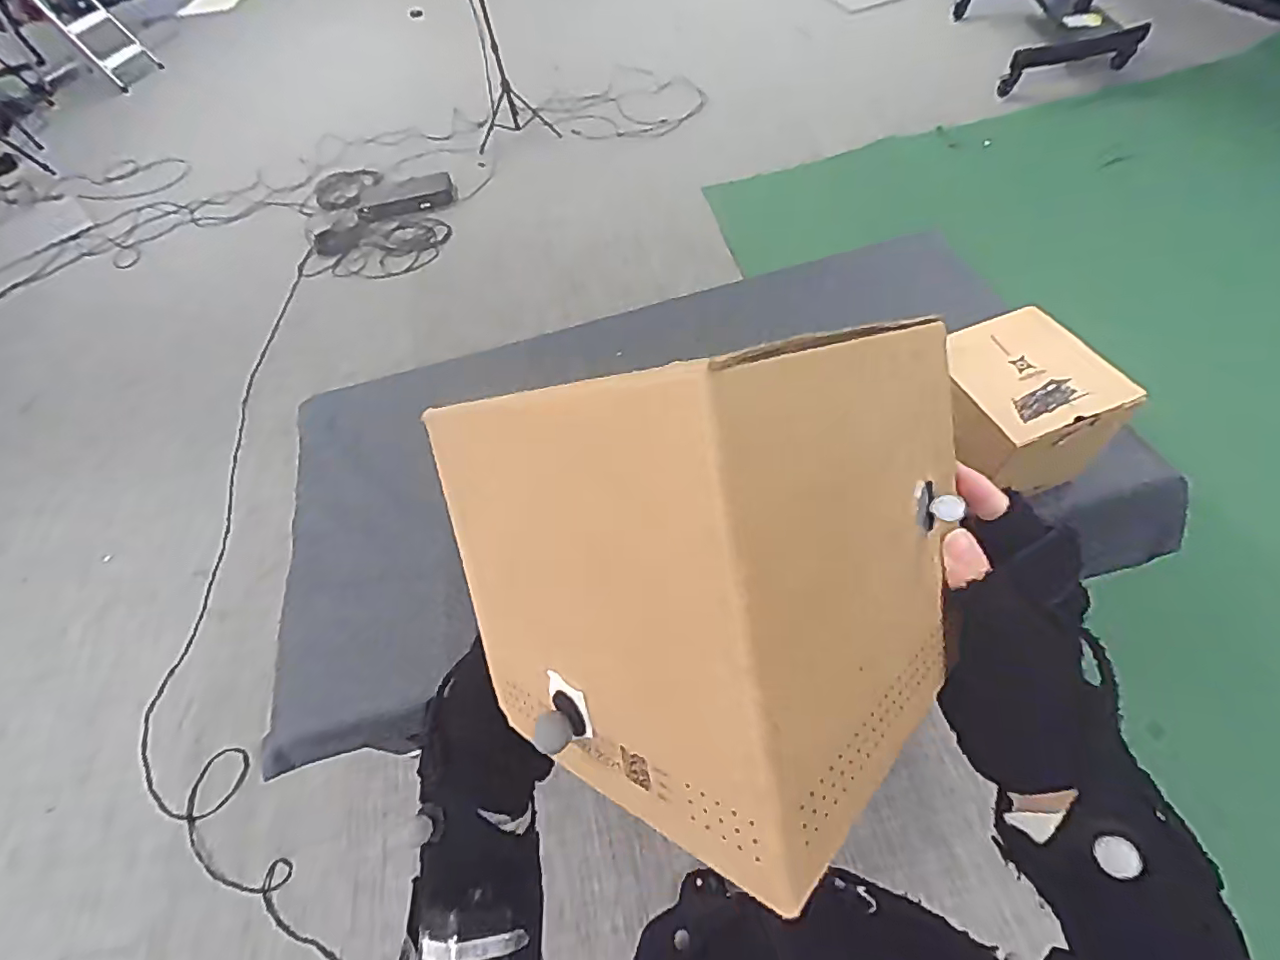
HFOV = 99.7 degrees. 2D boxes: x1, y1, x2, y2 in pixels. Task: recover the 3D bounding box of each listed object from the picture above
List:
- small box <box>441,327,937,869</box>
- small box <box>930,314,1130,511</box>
[{"bbox_3d":[0.034,0.028,0.269,0.168,0.176,0.179,1,16,45],"label":"small box"},{"bbox_3d":[0.459,-0.079,0.711,0.168,0.176,0.179,-19,55,-4],"label":"small box"}]
